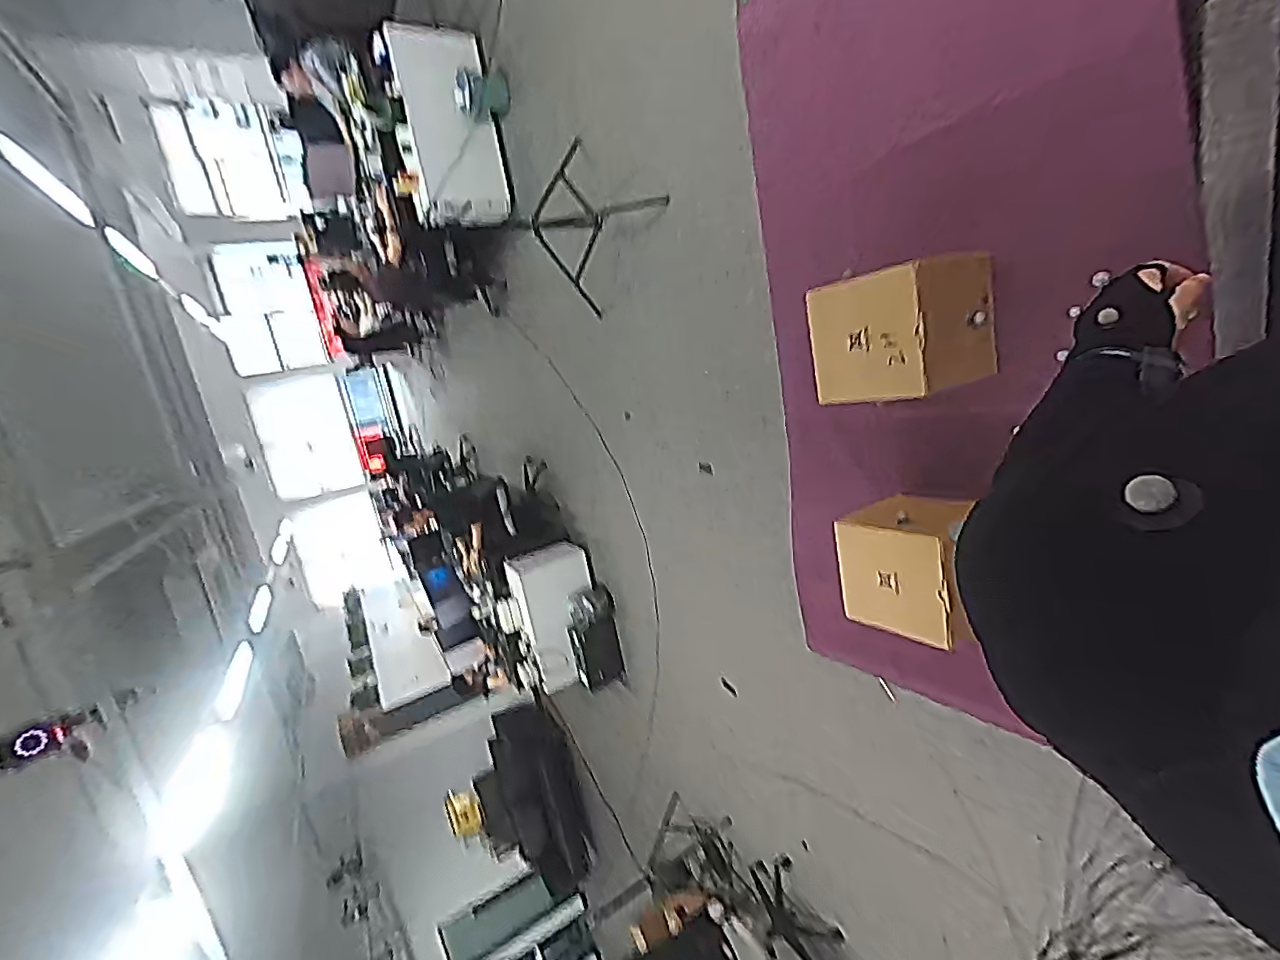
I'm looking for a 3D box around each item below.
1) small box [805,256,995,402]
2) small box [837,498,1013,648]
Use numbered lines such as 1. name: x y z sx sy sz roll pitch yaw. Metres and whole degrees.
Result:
1. small box: 0.368 -0.210 0.772 0.179 0.176 0.168 8 113 60
2. small box: 0.438 0.130 0.839 0.179 0.176 0.168 6 110 59
